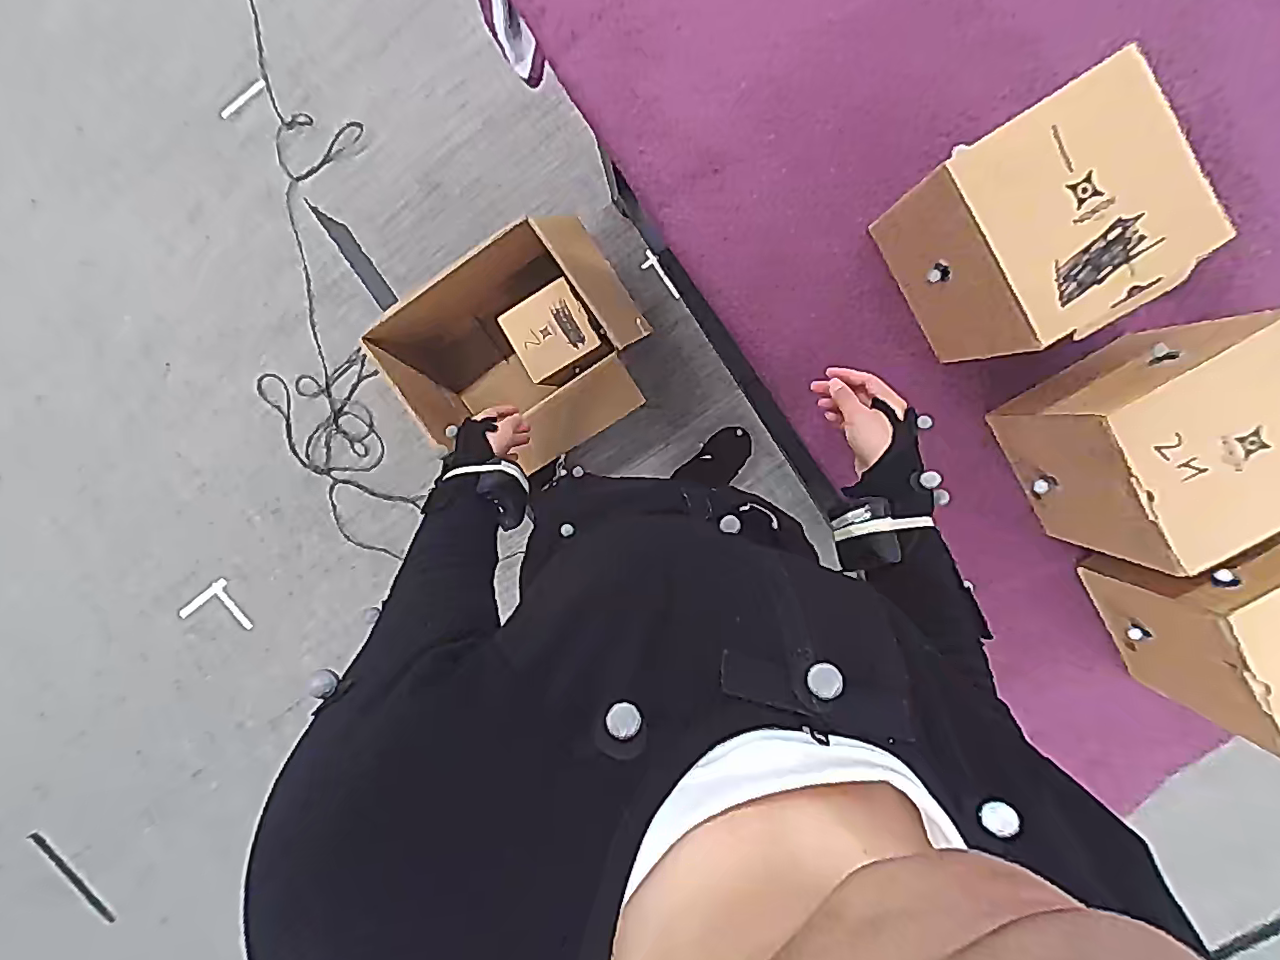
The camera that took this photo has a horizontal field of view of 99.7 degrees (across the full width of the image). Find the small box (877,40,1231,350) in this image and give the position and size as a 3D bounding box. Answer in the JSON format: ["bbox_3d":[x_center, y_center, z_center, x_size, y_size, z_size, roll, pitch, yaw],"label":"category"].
[{"bbox_3d":[0.361,-0.237,0.510,0.168,0.176,0.179,-31,94,7],"label":"small box"}]

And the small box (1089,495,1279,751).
[{"bbox_3d":[0.625,0.131,0.547,0.179,0.176,0.168,-31,95,6],"label":"small box"}]
